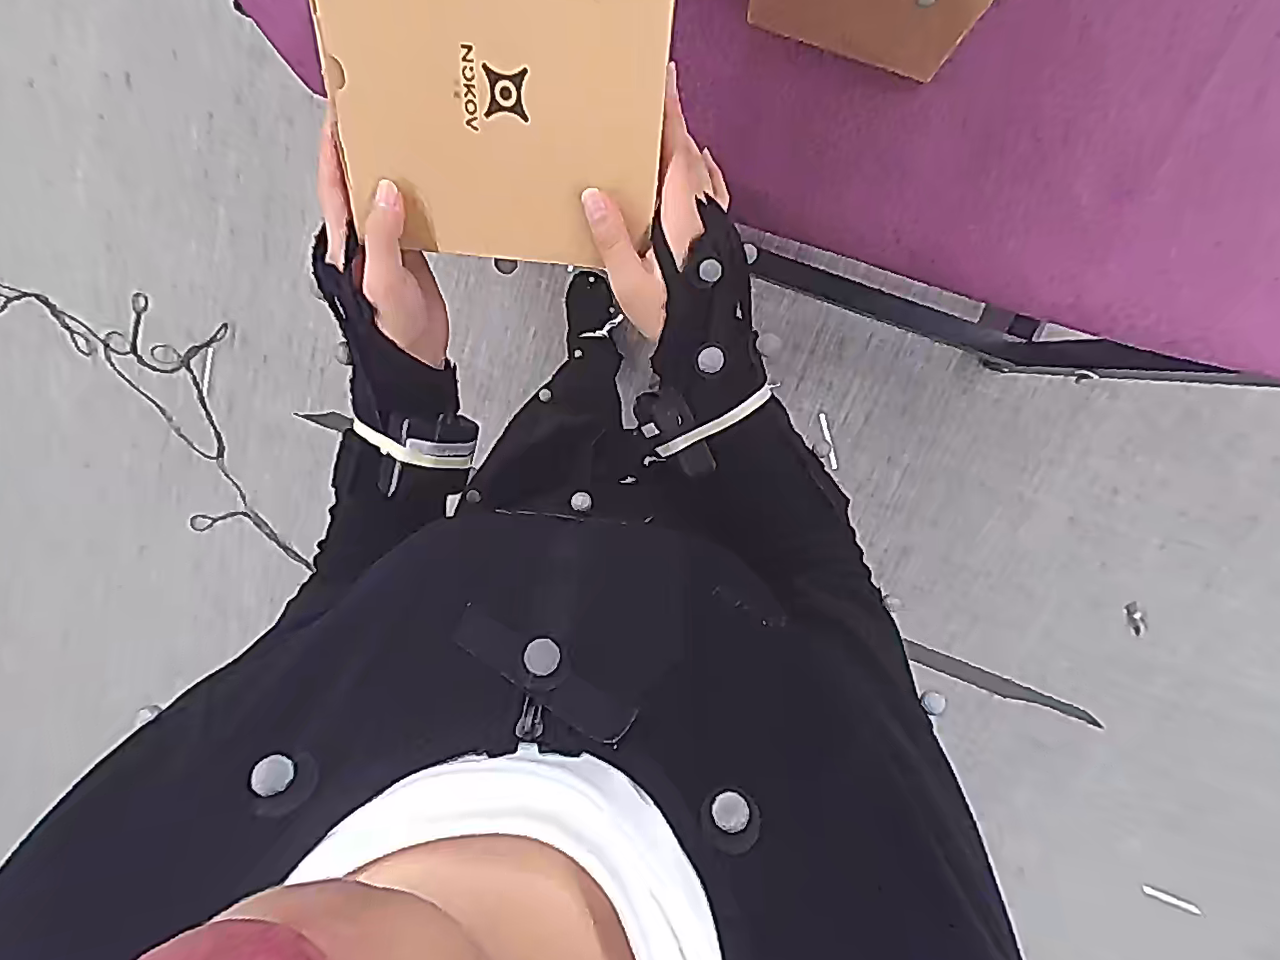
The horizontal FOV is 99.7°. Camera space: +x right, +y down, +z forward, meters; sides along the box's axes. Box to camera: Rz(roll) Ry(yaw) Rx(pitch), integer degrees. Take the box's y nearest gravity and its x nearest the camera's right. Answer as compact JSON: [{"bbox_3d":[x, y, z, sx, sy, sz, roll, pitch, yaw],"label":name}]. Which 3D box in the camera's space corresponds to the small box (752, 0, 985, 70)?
[{"bbox_3d":[0.196,-0.445,0.393,0.179,0.176,0.168,21,103,2],"label":"small box"}]

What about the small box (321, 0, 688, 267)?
[{"bbox_3d":[-0.068,-0.245,0.341,0.179,0.176,0.168,4,123,-2],"label":"small box"}]
